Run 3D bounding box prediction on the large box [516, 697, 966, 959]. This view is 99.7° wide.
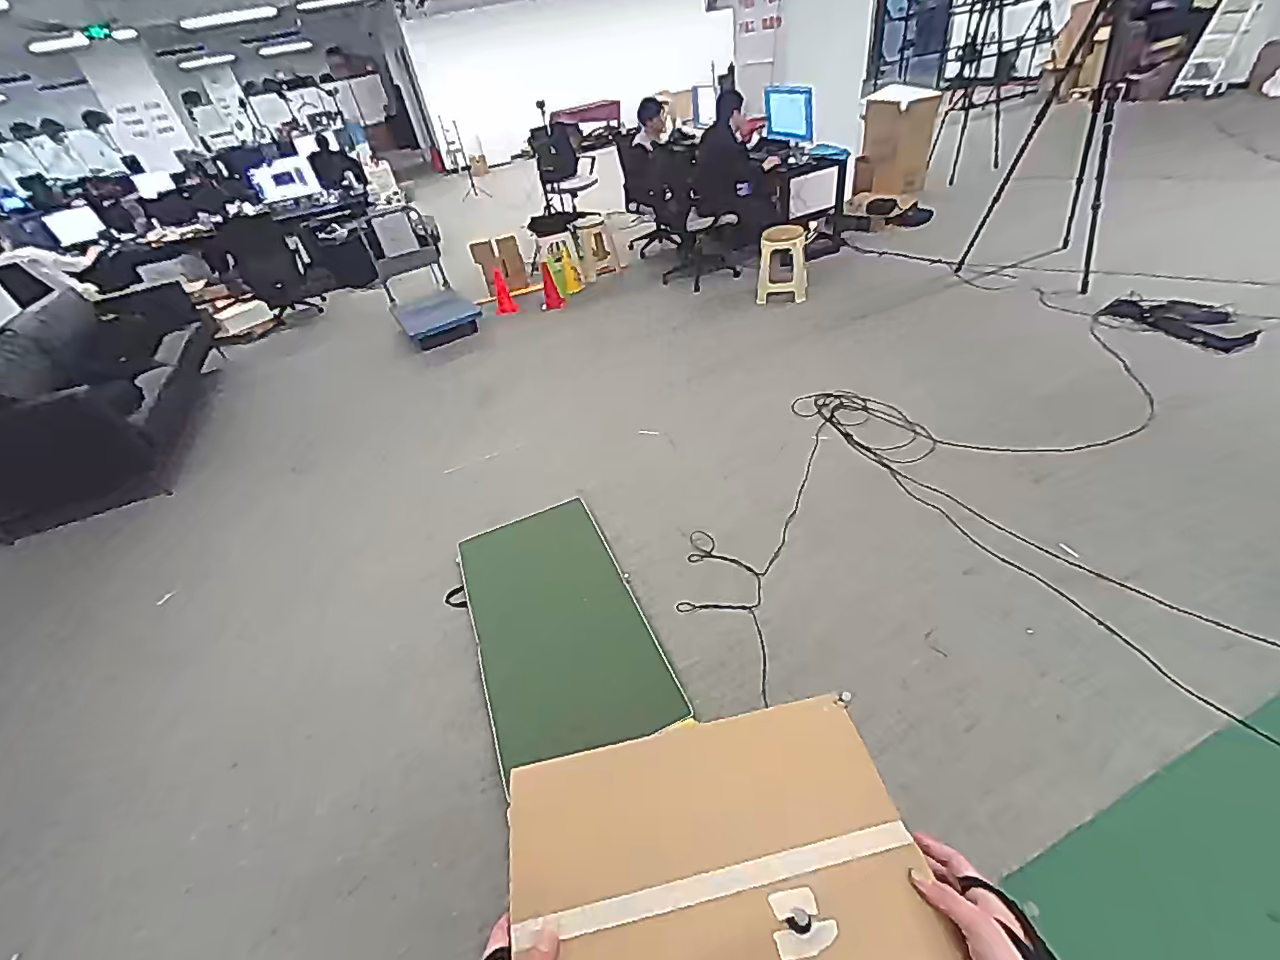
[{"bbox_3d":[0.090,0.518,0.637,0.408,0.320,0.320,-11,41,-5],"label":"large box"}]
